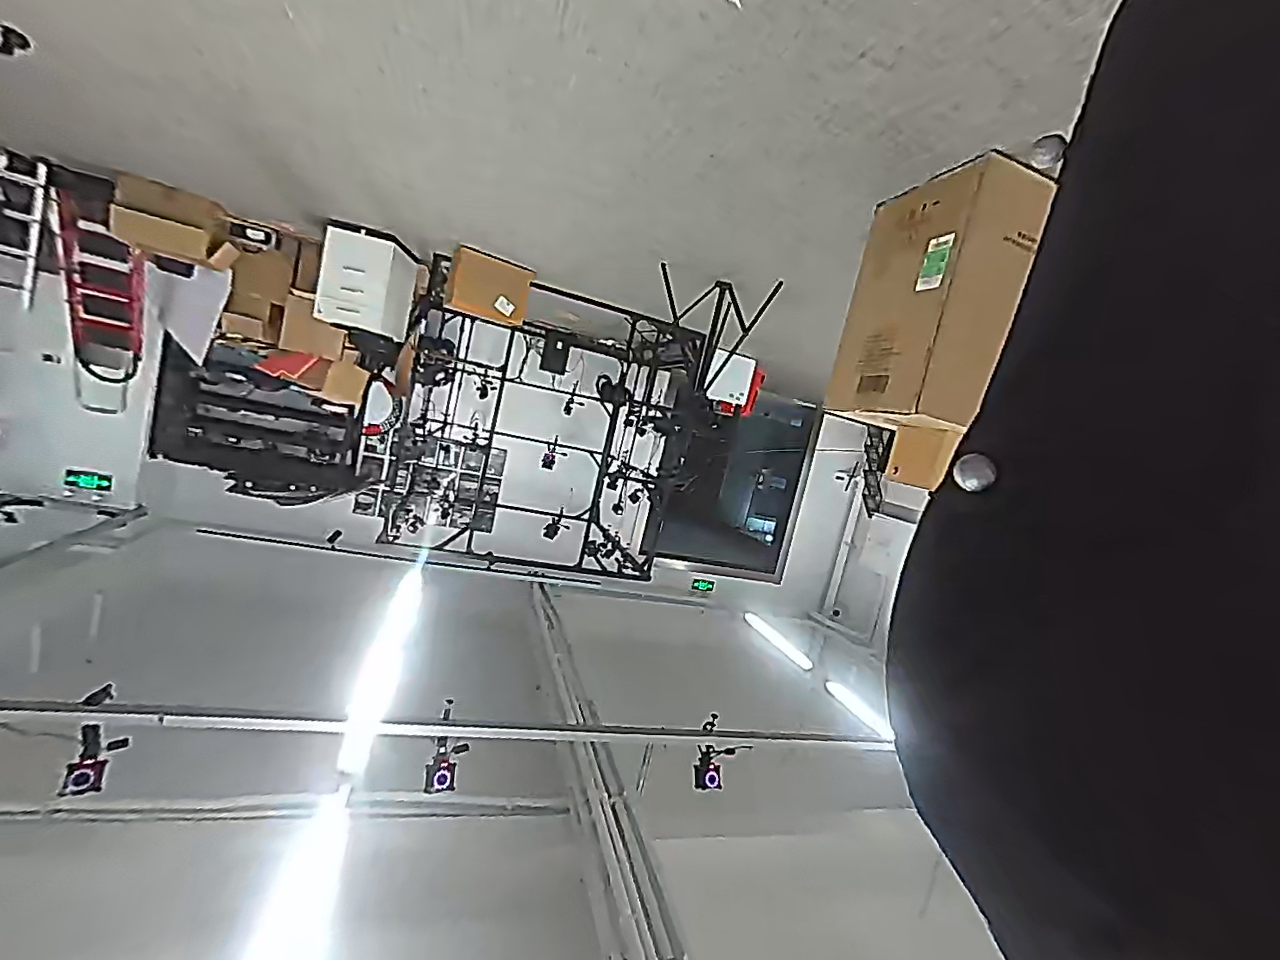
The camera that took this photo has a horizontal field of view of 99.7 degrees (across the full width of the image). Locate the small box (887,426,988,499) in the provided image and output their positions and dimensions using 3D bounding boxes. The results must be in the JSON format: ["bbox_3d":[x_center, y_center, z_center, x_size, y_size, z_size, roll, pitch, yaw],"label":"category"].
[{"bbox_3d":[0.832,-0.054,1.506,0.168,0.176,0.179,10,-173,-19],"label":"small box"}]
